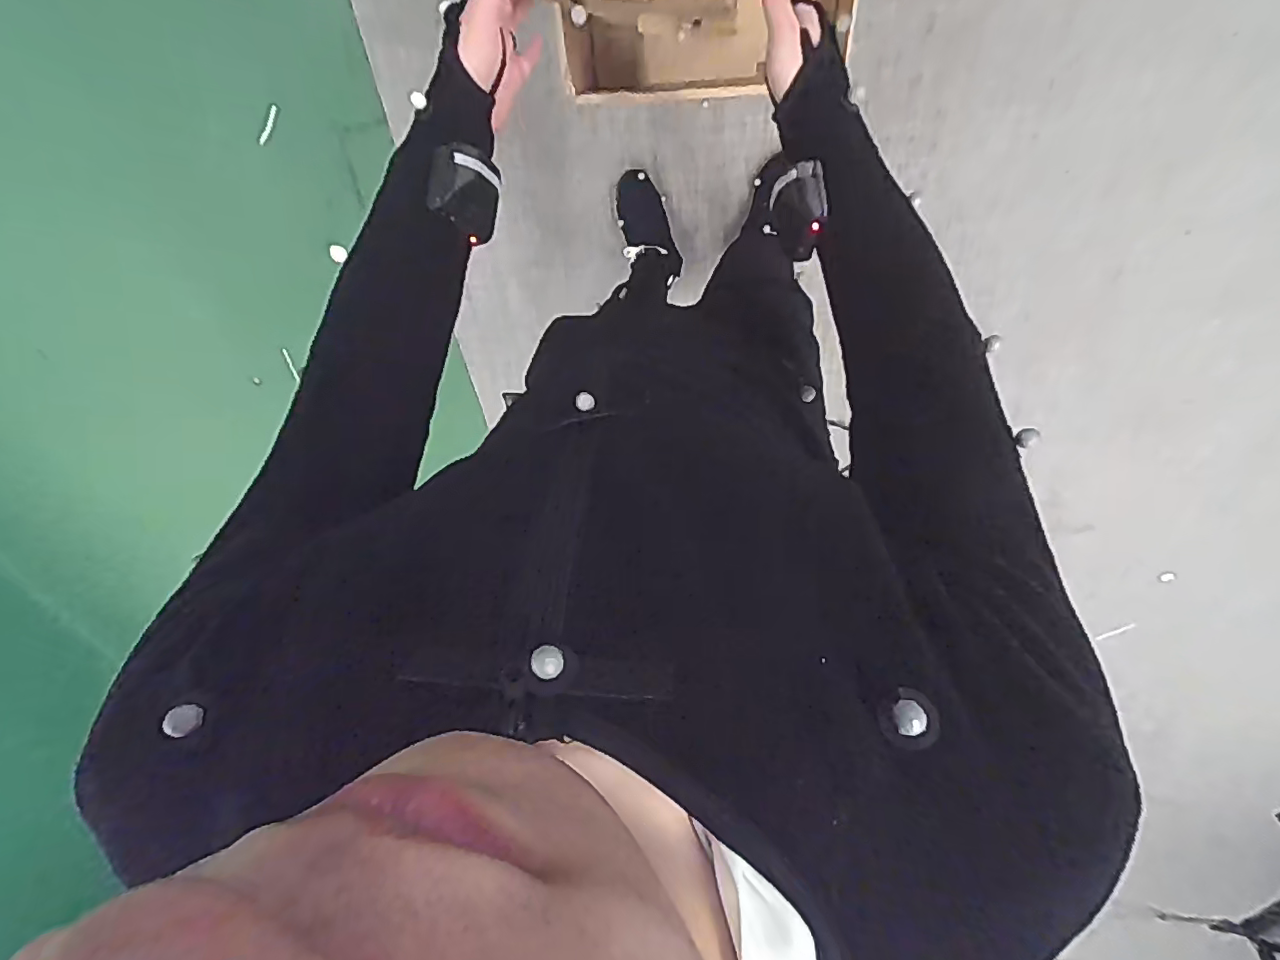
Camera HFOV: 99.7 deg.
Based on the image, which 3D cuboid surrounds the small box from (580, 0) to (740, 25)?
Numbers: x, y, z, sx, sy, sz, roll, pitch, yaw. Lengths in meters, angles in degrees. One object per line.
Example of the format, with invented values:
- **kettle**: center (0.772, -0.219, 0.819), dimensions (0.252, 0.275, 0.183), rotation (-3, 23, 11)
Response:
- **small box**: center (0.033, -0.607, 0.578), dimensions (0.168, 0.176, 0.179), rotation (7, 127, 6)
